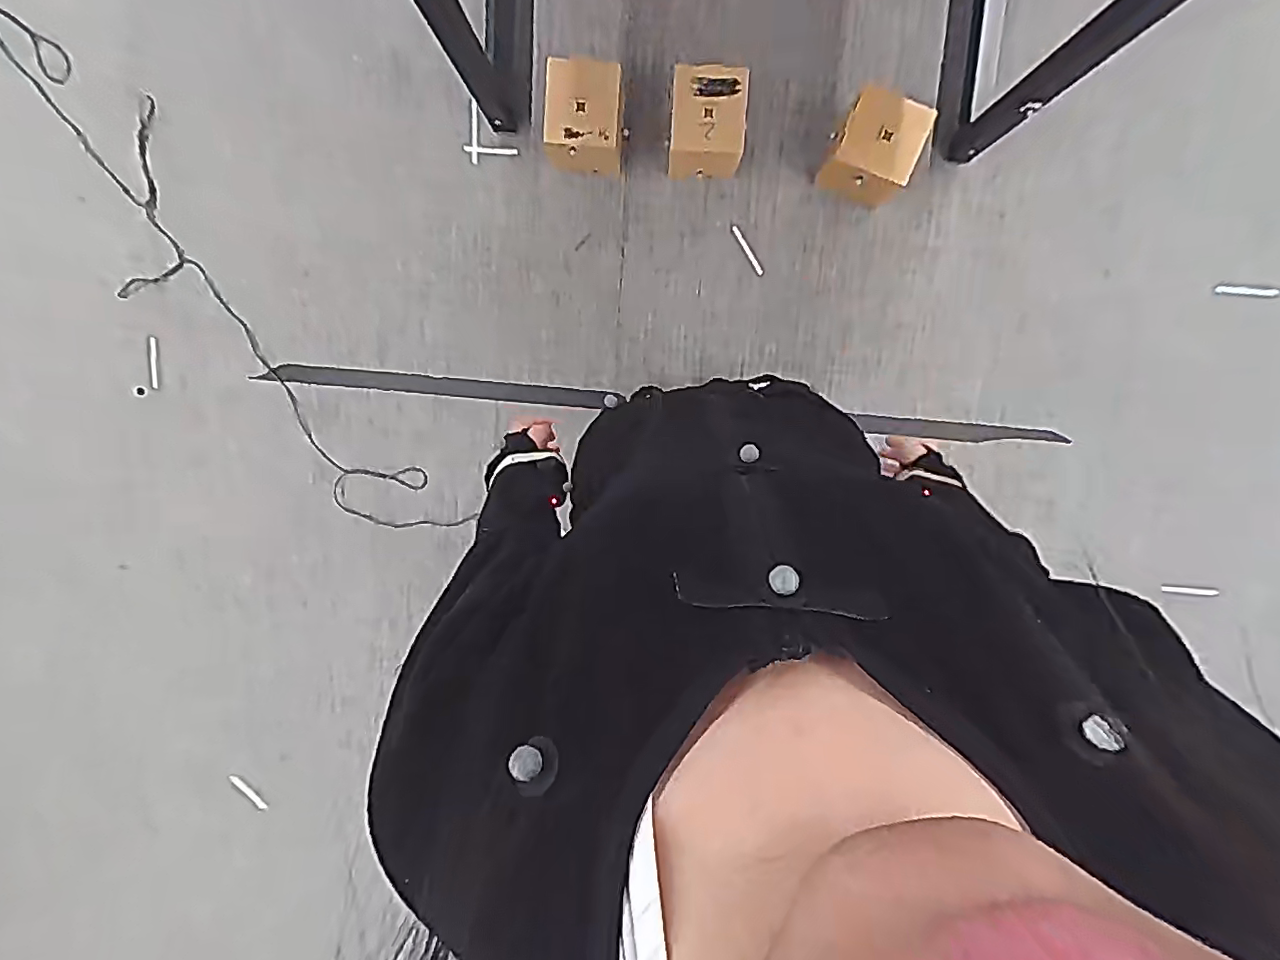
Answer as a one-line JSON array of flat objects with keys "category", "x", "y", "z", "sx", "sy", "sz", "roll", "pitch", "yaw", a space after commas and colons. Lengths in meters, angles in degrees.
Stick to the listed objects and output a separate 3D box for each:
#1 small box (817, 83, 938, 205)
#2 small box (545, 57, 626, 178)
[{"category": "small box", "x": 0.547, "y": -0.774, "z": 1.270, "sx": 0.179, "sy": 0.176, "sz": 0.168, "roll": 21, "pitch": 100, "yaw": -1}, {"category": "small box", "x": -0.123, "y": -0.846, "z": 1.275, "sx": 0.168, "sy": 0.176, "sz": 0.179, "roll": 6, "pitch": 98, "yaw": 1}]
